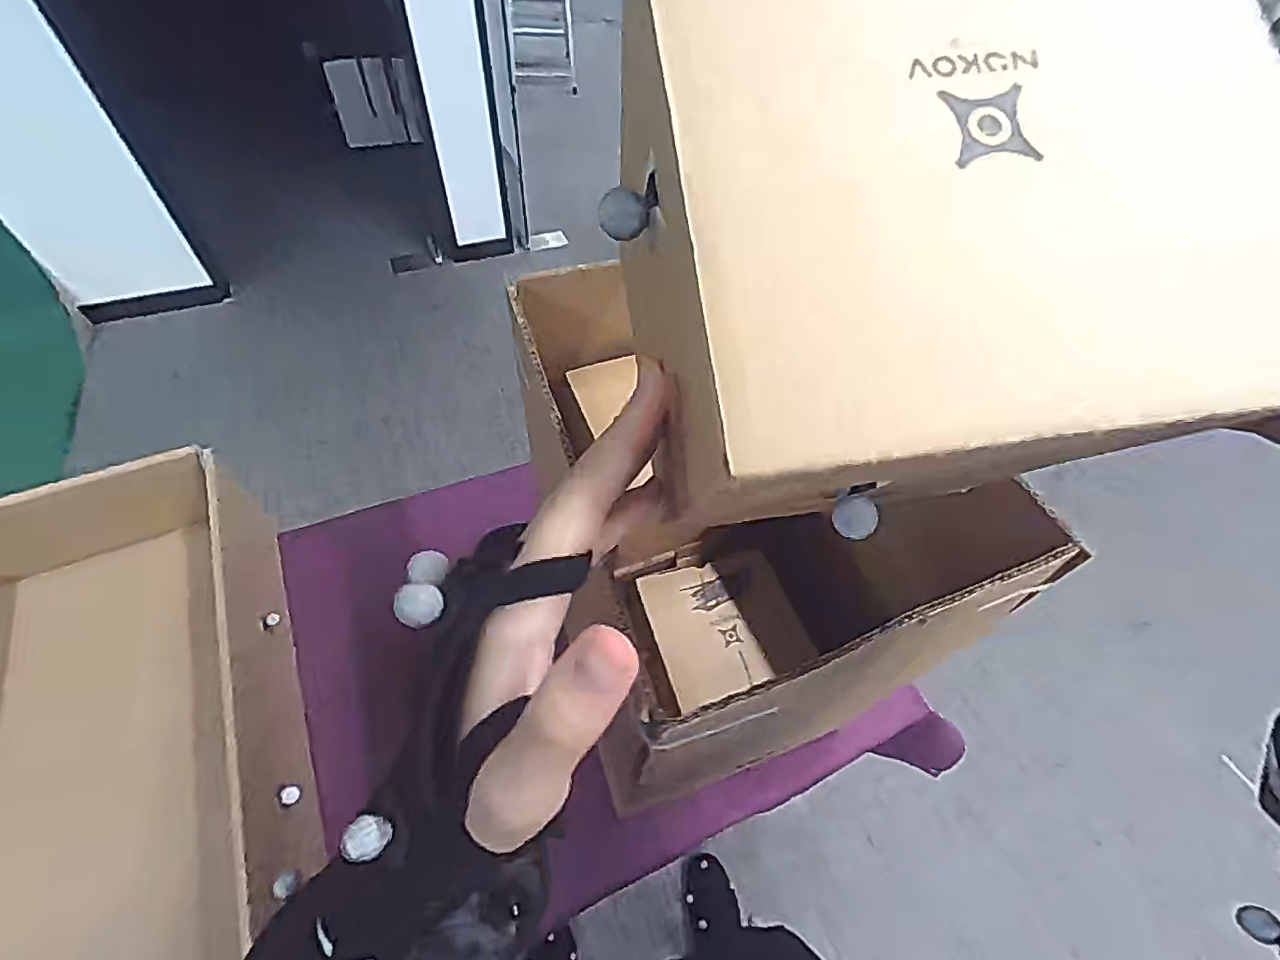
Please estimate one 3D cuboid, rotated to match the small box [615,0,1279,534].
[{"bbox_3d":[0.083,-0.075,0.223,0.168,0.176,0.179,-8,79,-4],"label":"small box"}]
